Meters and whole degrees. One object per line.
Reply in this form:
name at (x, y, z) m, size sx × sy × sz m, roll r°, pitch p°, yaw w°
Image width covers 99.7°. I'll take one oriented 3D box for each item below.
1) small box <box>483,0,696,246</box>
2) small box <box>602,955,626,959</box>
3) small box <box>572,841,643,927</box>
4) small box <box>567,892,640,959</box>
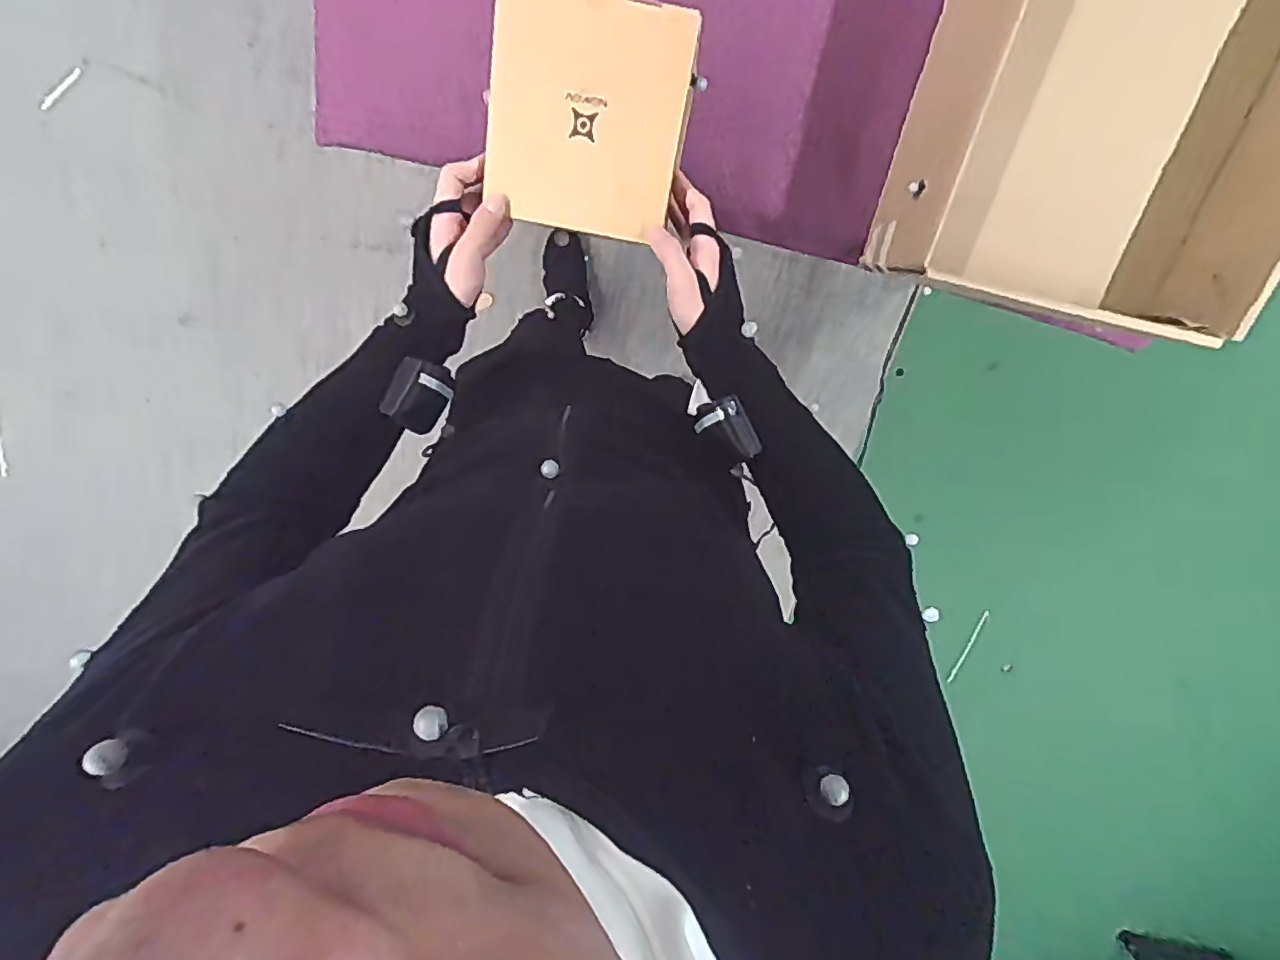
small box at (-0.042, -0.336, 0.530) m, size 0.168 × 0.176 × 0.179 m, roll 10°, pitch 112°, yaw 0°
small box at (-0.101, 1.400, 1.412) m, size 0.179 × 0.176 × 0.168 m, roll -20°, pitch 109°, yaw 5°
small box at (-0.097, 1.299, 1.722) m, size 0.179 × 0.176 × 0.168 m, roll -20°, pitch 109°, yaw 6°
small box at (-0.099, 1.348, 1.567) m, size 0.168 × 0.176 × 0.179 m, roll -18°, pitch 108°, yaw 5°
